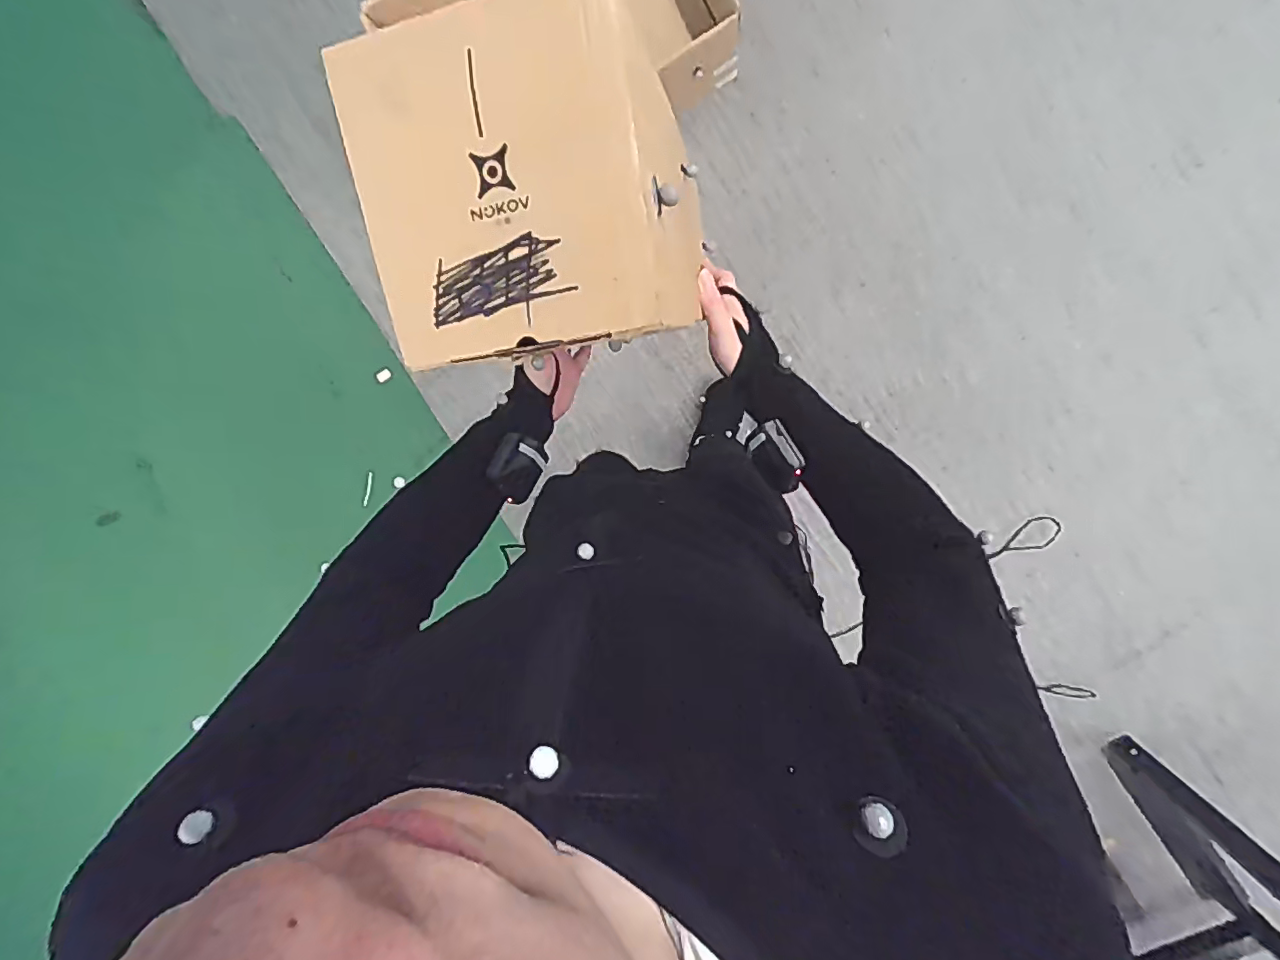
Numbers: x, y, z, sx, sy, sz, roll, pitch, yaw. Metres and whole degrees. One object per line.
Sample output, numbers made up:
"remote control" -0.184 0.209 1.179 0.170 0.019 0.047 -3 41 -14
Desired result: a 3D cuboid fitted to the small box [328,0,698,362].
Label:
"small box" -0.057 -0.184 0.361 0.168 0.176 0.179 -6 104 12
